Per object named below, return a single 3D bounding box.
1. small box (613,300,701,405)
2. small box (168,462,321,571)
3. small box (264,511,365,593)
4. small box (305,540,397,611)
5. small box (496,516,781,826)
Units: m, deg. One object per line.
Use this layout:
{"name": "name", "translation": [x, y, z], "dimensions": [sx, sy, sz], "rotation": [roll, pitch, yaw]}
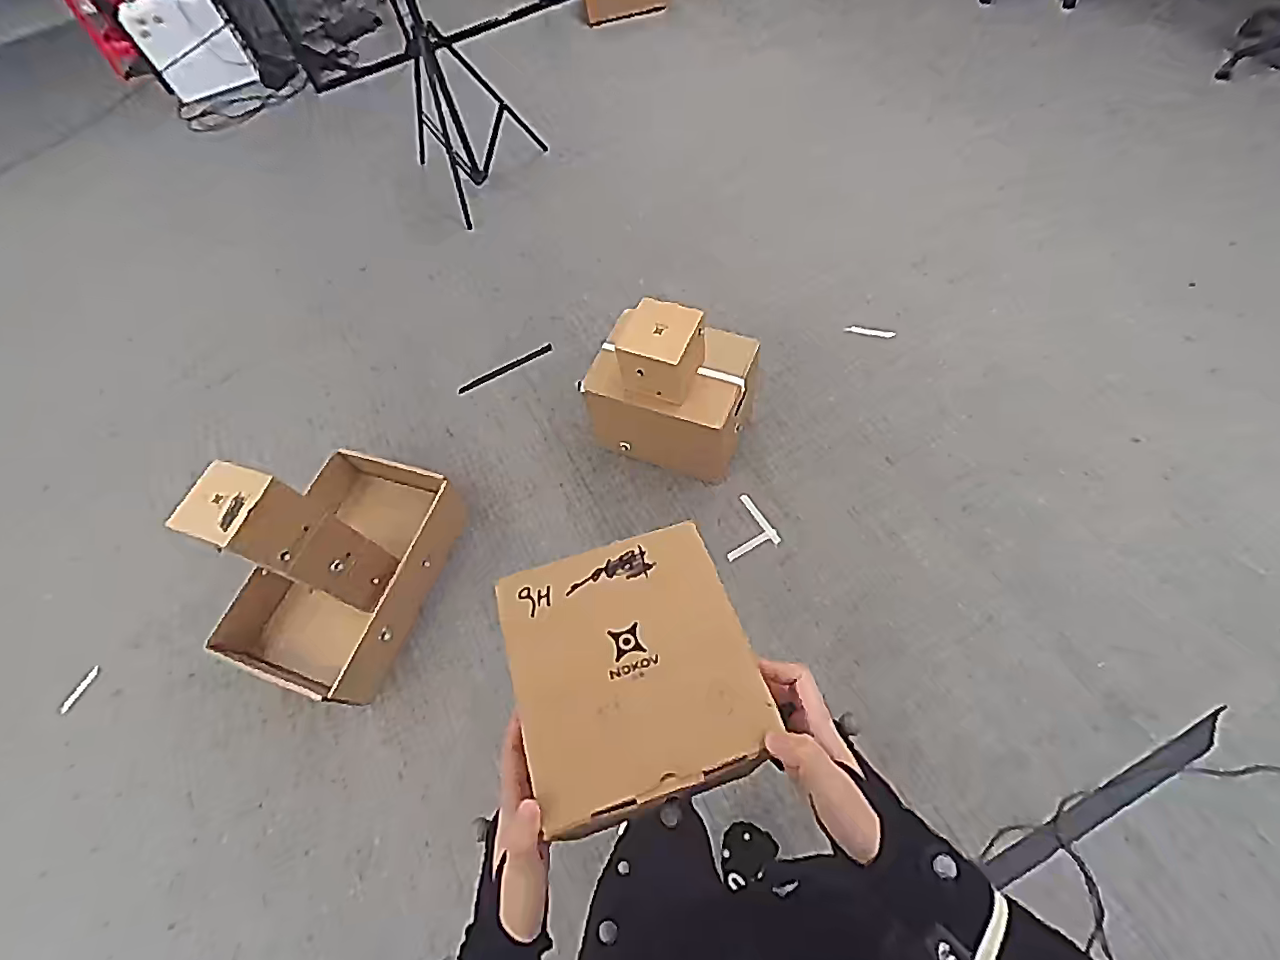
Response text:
{"name": "small box", "translation": [0.053, -0.317, 1.368], "dimensions": [0.168, 0.176, 0.179], "rotation": [19, 66, 16]}
{"name": "small box", "translation": [-0.855, 0.086, 1.190], "dimensions": [0.179, 0.176, 0.168], "rotation": [14, 65, 16]}
{"name": "small box", "translation": [-0.830, 0.163, 1.334], "dimensions": [0.179, 0.176, 0.168], "rotation": [16, 66, 14]}
{"name": "small box", "translation": [-0.811, 0.241, 1.474], "dimensions": [0.179, 0.176, 0.168], "rotation": [17, 66, 16]}
{"name": "small box", "translation": [-0.007, 0.161, 0.448], "dimensions": [0.168, 0.176, 0.179], "rotation": [-15, 58, -10]}
